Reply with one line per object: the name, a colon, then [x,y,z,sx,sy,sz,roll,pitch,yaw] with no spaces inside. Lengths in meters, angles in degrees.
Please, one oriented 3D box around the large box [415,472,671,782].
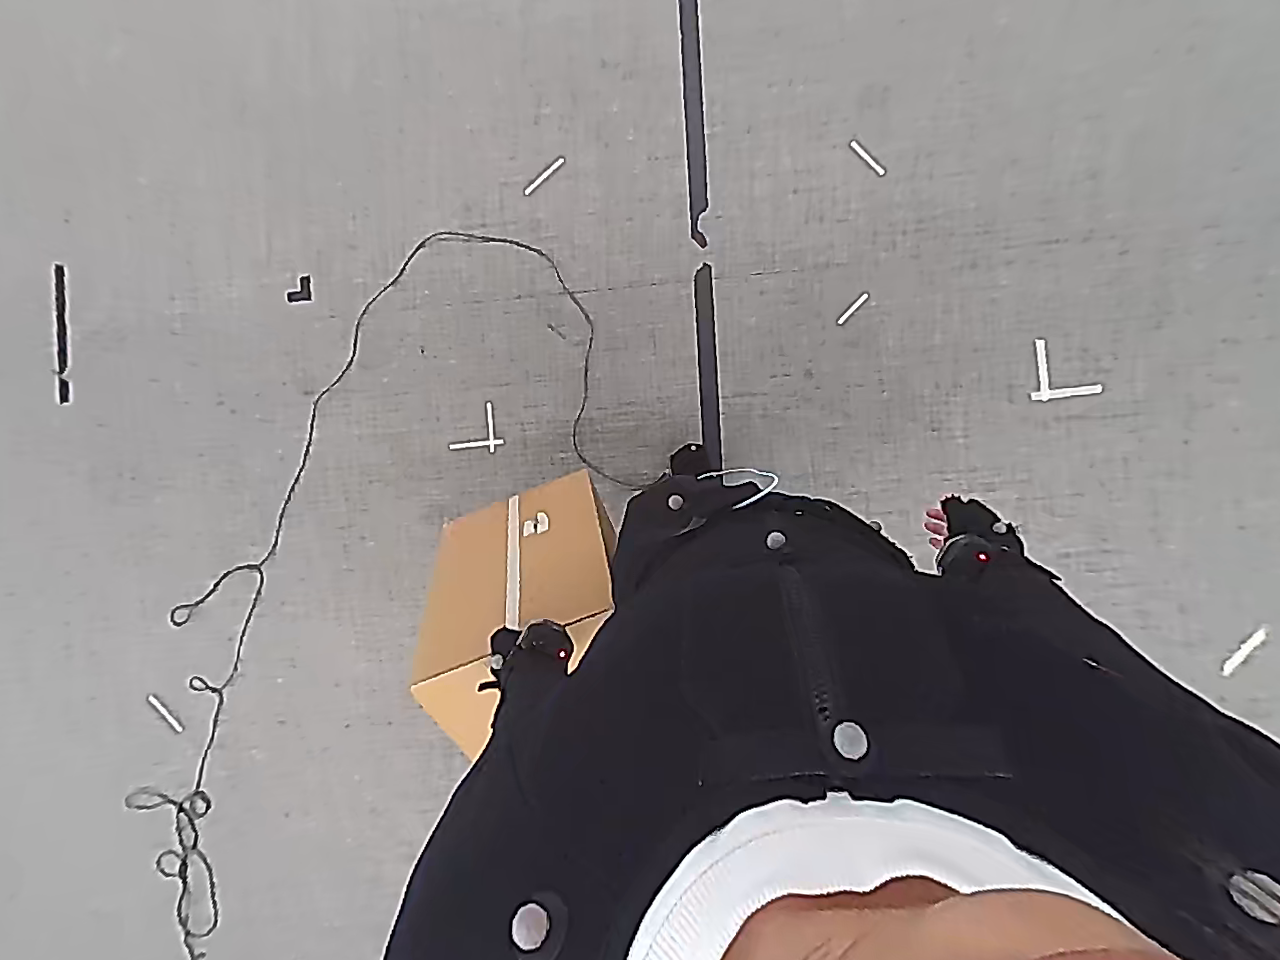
large box: [-0.168,0.250,1.007,0.320,0.408,0.320,-20,121,0]
